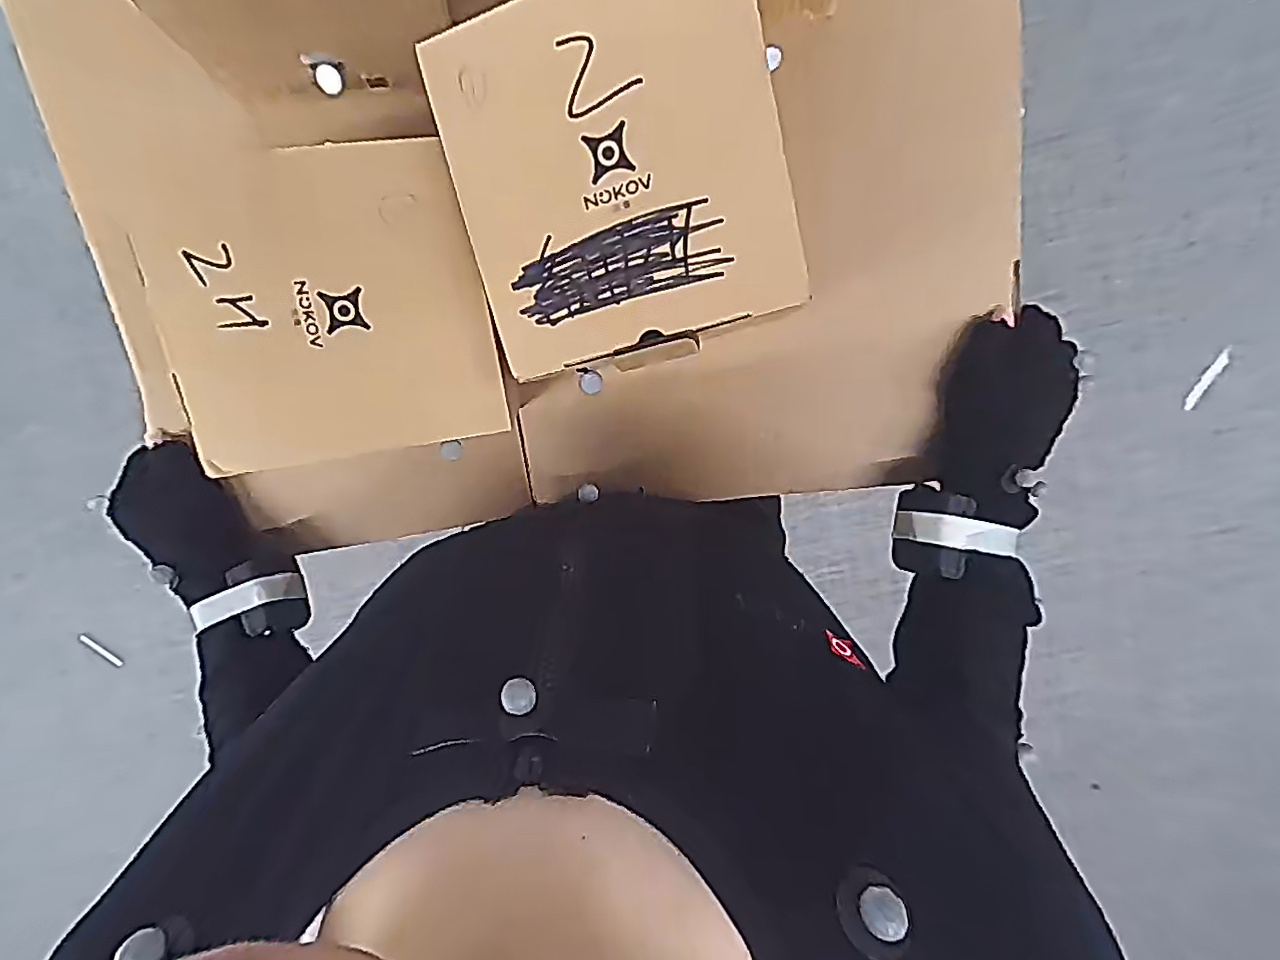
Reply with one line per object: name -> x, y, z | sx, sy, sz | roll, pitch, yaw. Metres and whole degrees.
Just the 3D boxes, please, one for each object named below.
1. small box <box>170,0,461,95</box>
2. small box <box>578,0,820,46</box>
small box -> -0.215, -0.371, 0.323 | 0.168, 0.176, 0.179 | -11, 104, -8
small box -> 0.026, -0.380, 0.293 | 0.168, 0.176, 0.179 | -4, 102, 12
